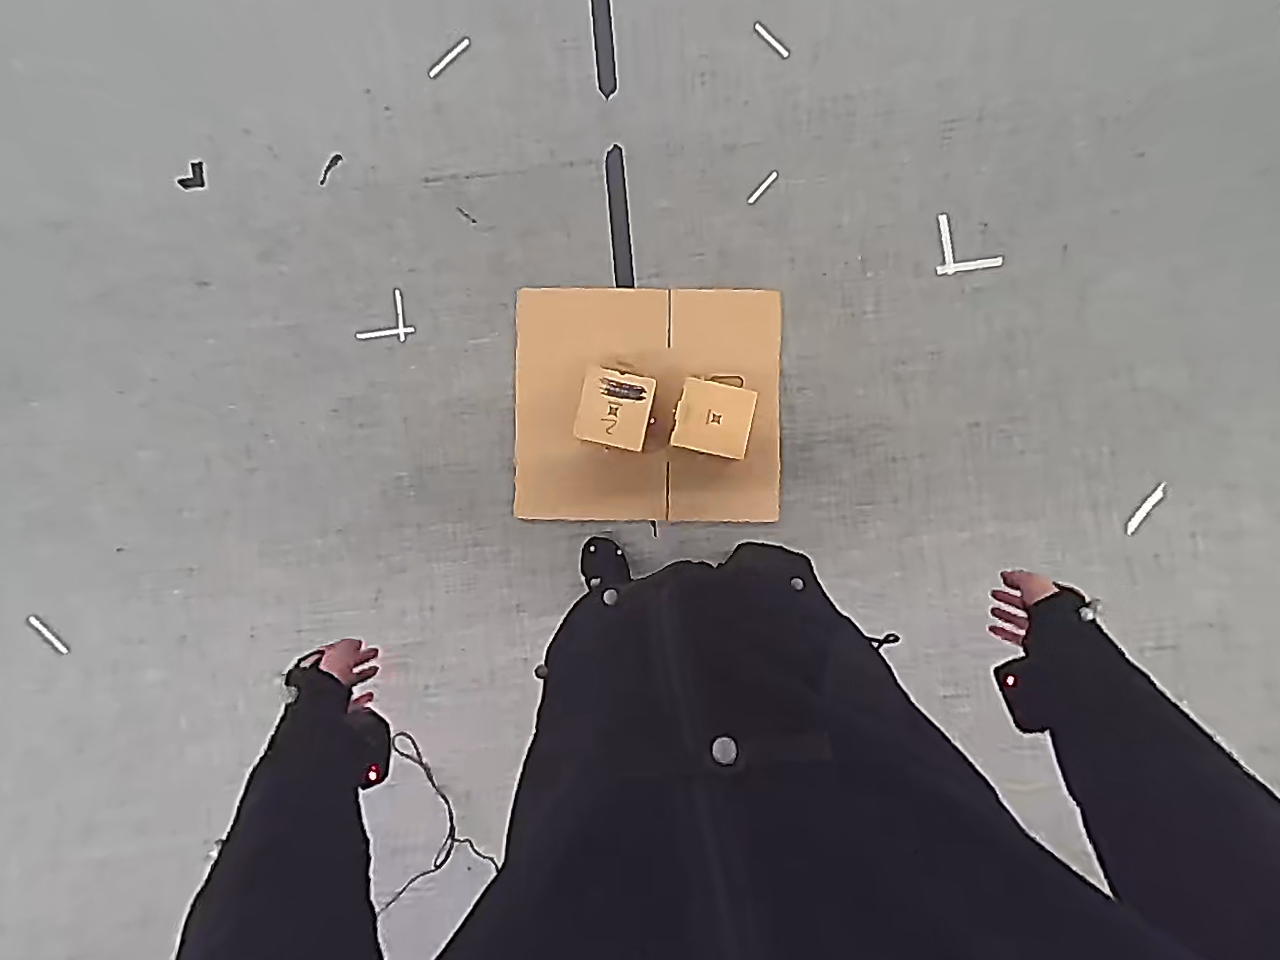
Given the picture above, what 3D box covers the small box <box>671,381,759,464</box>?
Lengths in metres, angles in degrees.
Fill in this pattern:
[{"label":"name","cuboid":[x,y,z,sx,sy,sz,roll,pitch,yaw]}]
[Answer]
[{"label":"small box","cuboid":[0.180,-0.136,1.343,0.179,0.176,0.168,13,90,2]}]
